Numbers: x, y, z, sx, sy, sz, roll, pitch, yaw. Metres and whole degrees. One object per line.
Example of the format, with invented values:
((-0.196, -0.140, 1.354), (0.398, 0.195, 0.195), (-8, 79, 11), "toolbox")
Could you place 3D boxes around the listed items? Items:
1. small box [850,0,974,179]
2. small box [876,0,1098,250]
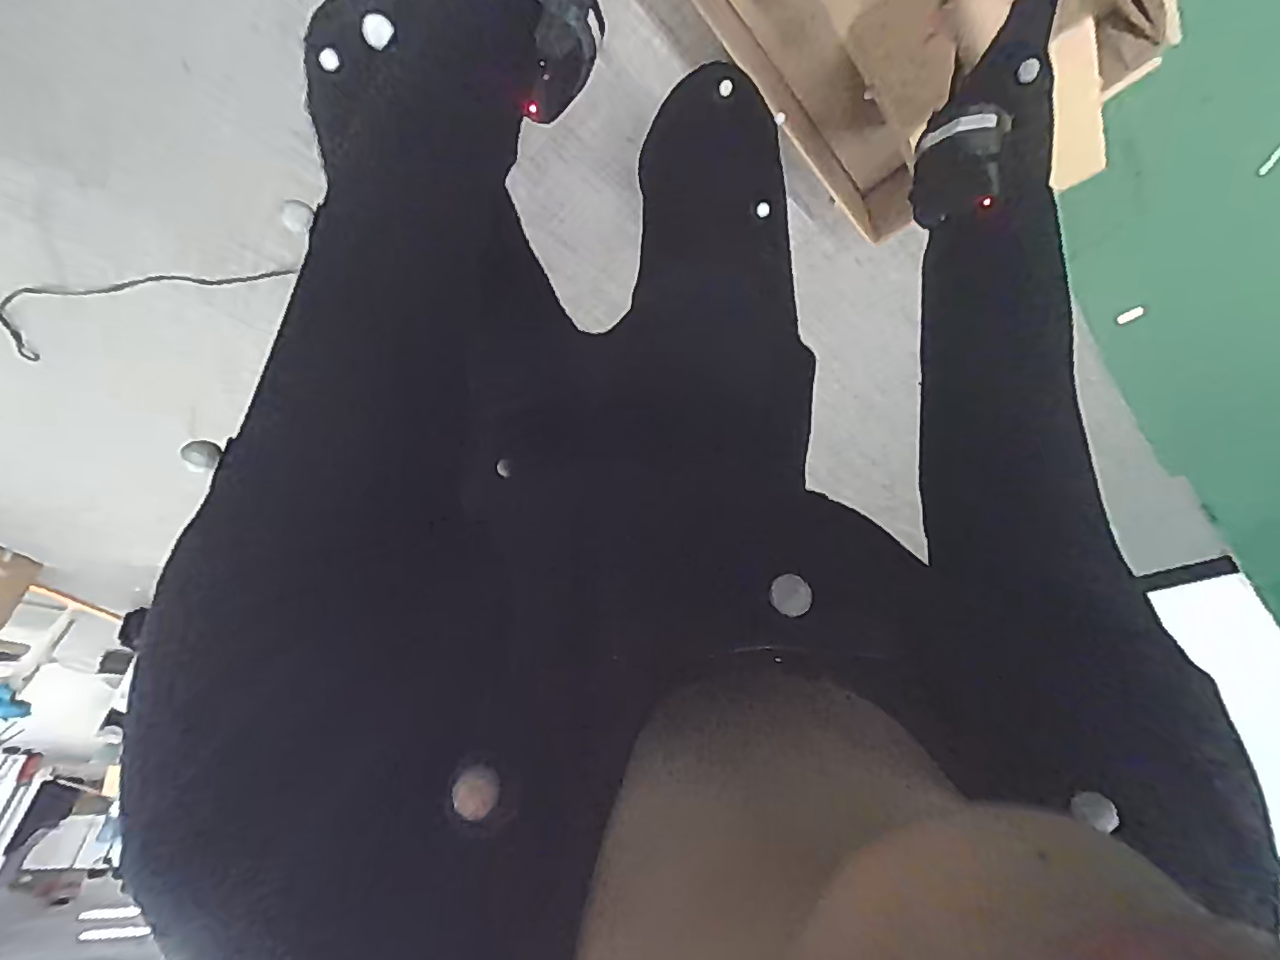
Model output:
((0.407, -0.562, 0.723), (0.179, 0.176, 0.168), (-22, 140, 33), "small box")
((0.401, -0.423, 0.636), (0.168, 0.176, 0.179), (-23, 139, 32), "small box")
